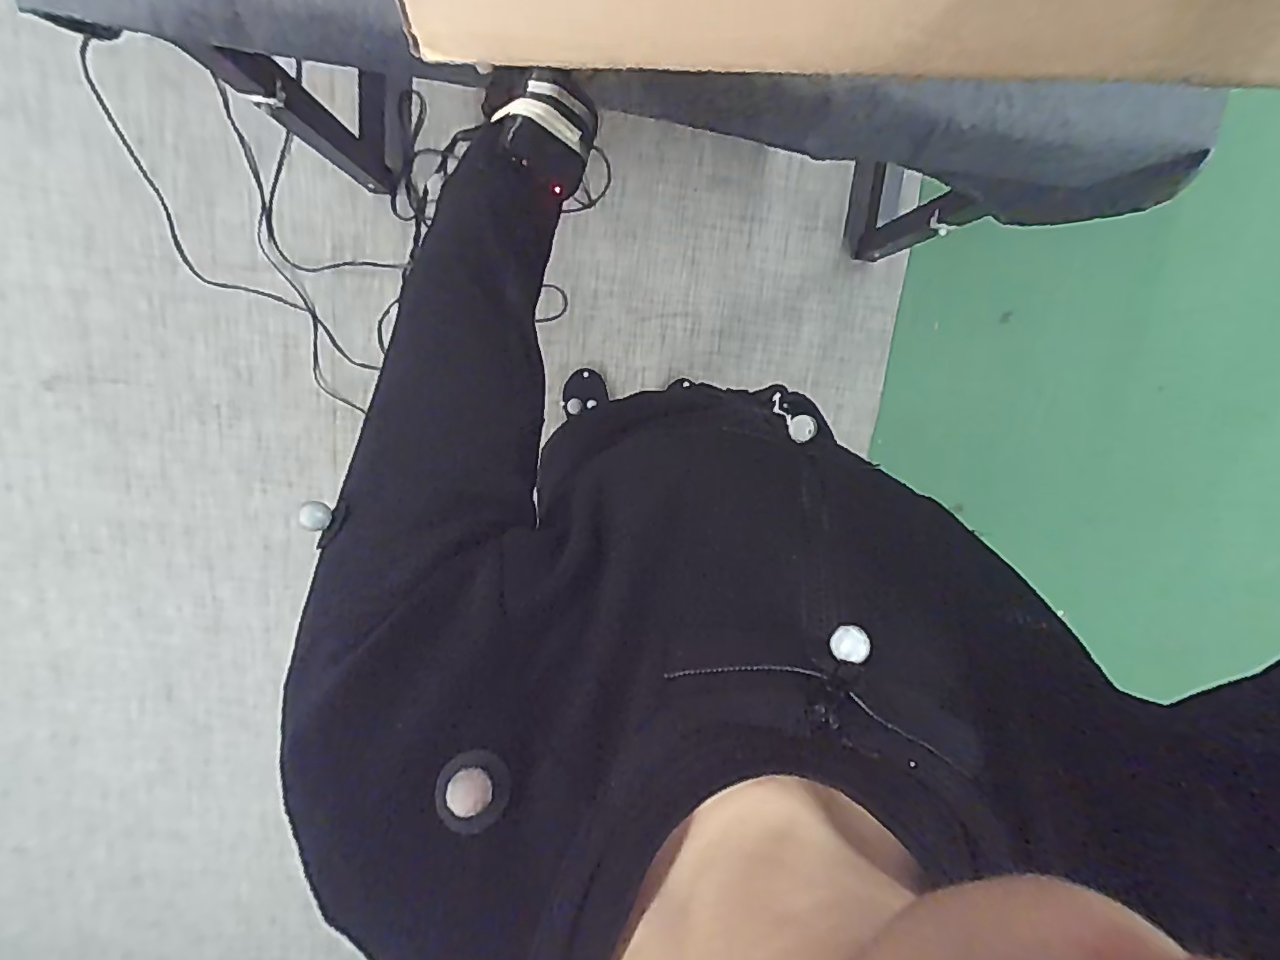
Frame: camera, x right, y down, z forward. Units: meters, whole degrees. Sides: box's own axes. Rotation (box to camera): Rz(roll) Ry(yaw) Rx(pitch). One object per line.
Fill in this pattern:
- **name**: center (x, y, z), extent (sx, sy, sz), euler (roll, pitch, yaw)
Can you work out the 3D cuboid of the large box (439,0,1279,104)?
- **large box**: center (0.123, -0.376, 0.203), extent (0.408, 0.320, 0.320), euler (5, 142, 7)
